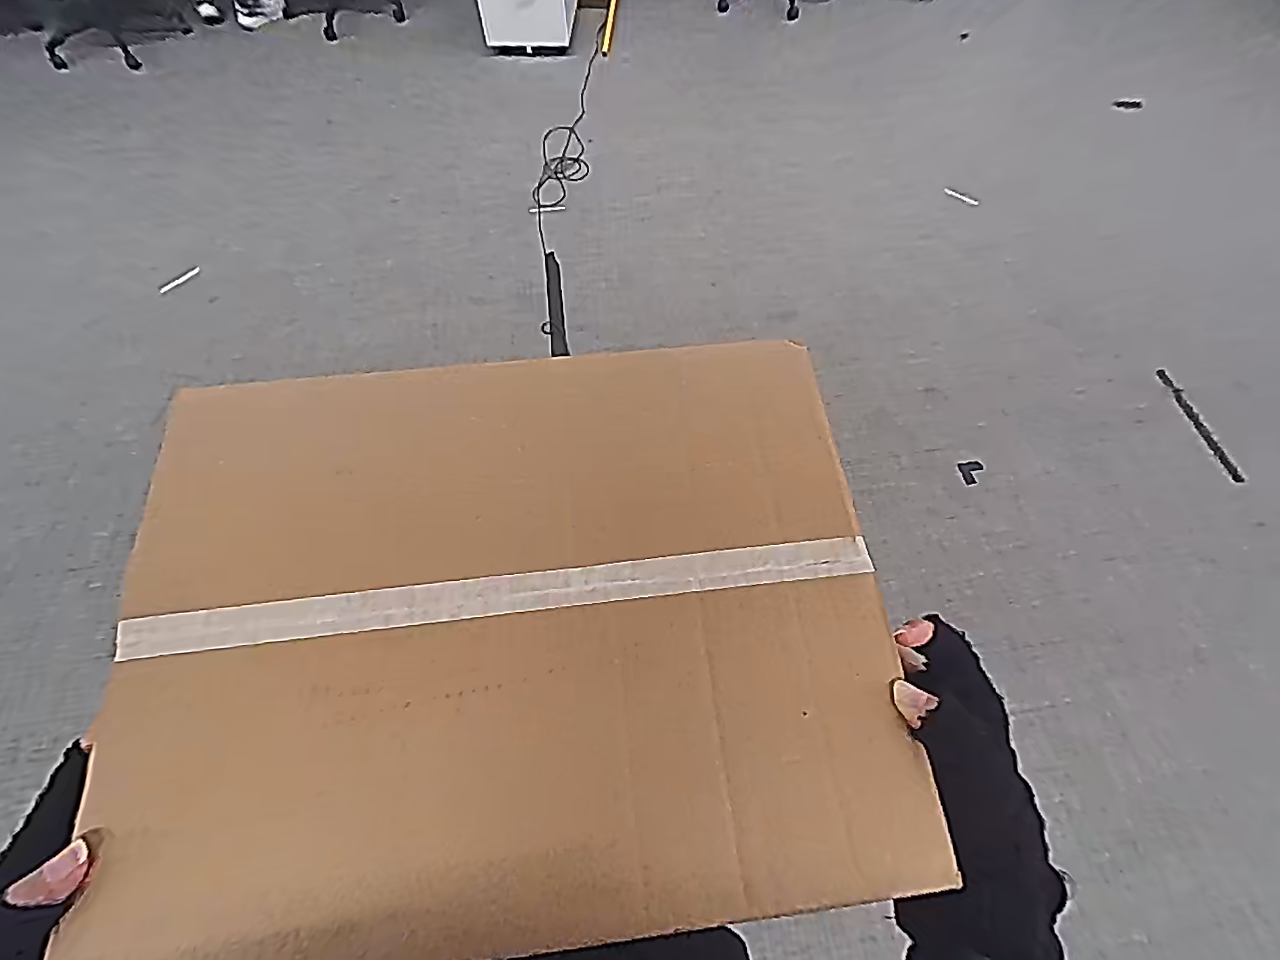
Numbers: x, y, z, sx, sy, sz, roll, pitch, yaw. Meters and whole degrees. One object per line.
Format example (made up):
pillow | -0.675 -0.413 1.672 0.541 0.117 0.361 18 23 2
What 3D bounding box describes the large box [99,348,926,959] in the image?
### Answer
large box | -0.073 0.125 0.452 0.408 0.320 0.320 -6 68 -4
